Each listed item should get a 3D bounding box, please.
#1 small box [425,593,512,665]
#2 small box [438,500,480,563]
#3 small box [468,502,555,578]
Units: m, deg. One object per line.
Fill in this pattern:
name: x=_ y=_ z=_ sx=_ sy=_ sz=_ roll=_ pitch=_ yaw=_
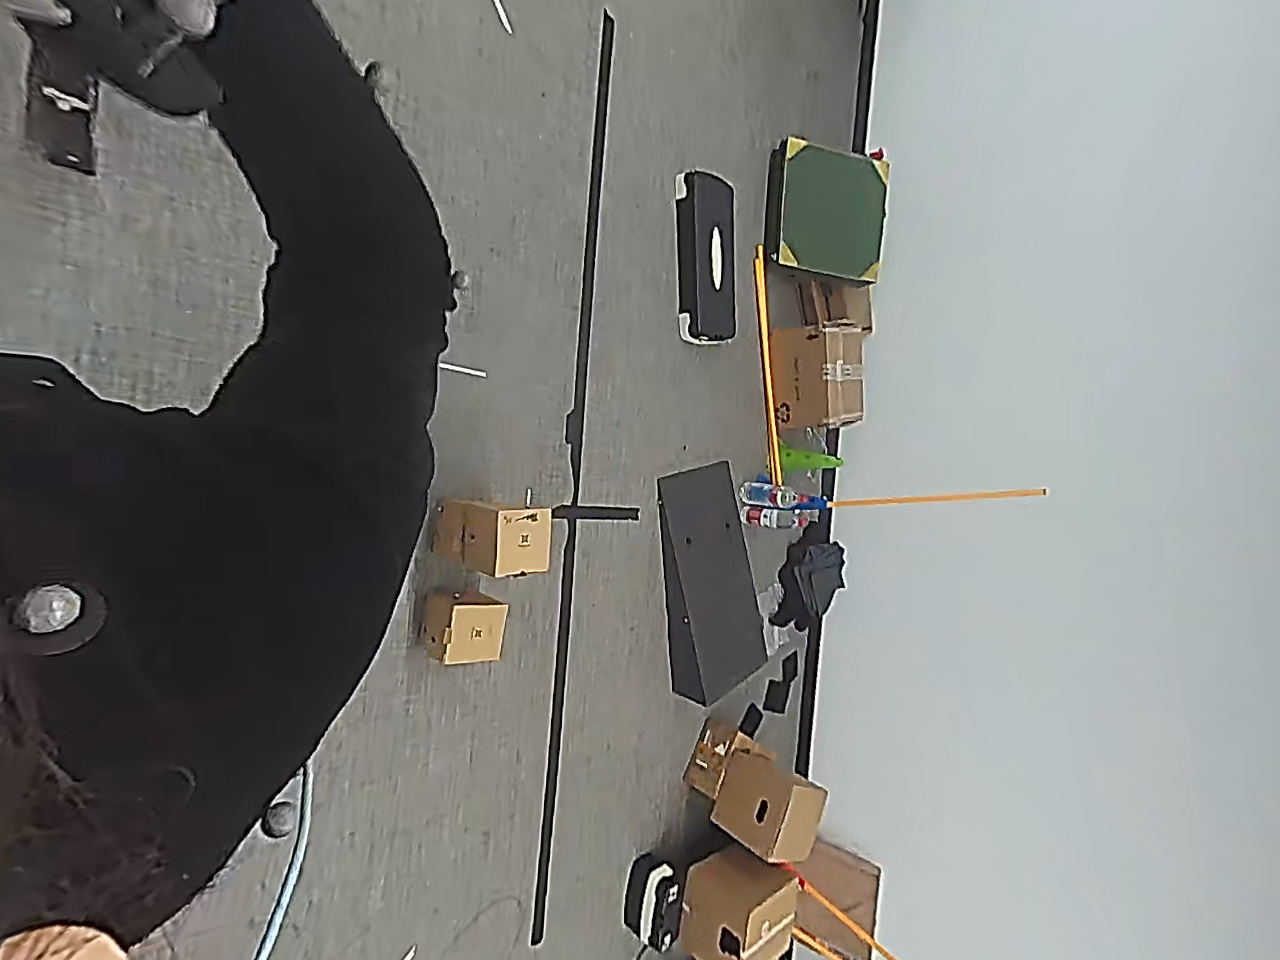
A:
small box: x=-0.506 y=0.430 z=1.582 sx=0.179 sy=0.176 sz=0.168 roll=12 pitch=86 yaw=-46
small box: x=-0.472 y=0.149 z=1.584 sx=0.179 sy=0.176 sz=0.168 roll=7 pitch=89 yaw=-46
small box: x=-0.353 y=0.157 z=1.471 sx=0.168 sy=0.176 sz=0.179 roll=0 pitch=95 yaw=-46
